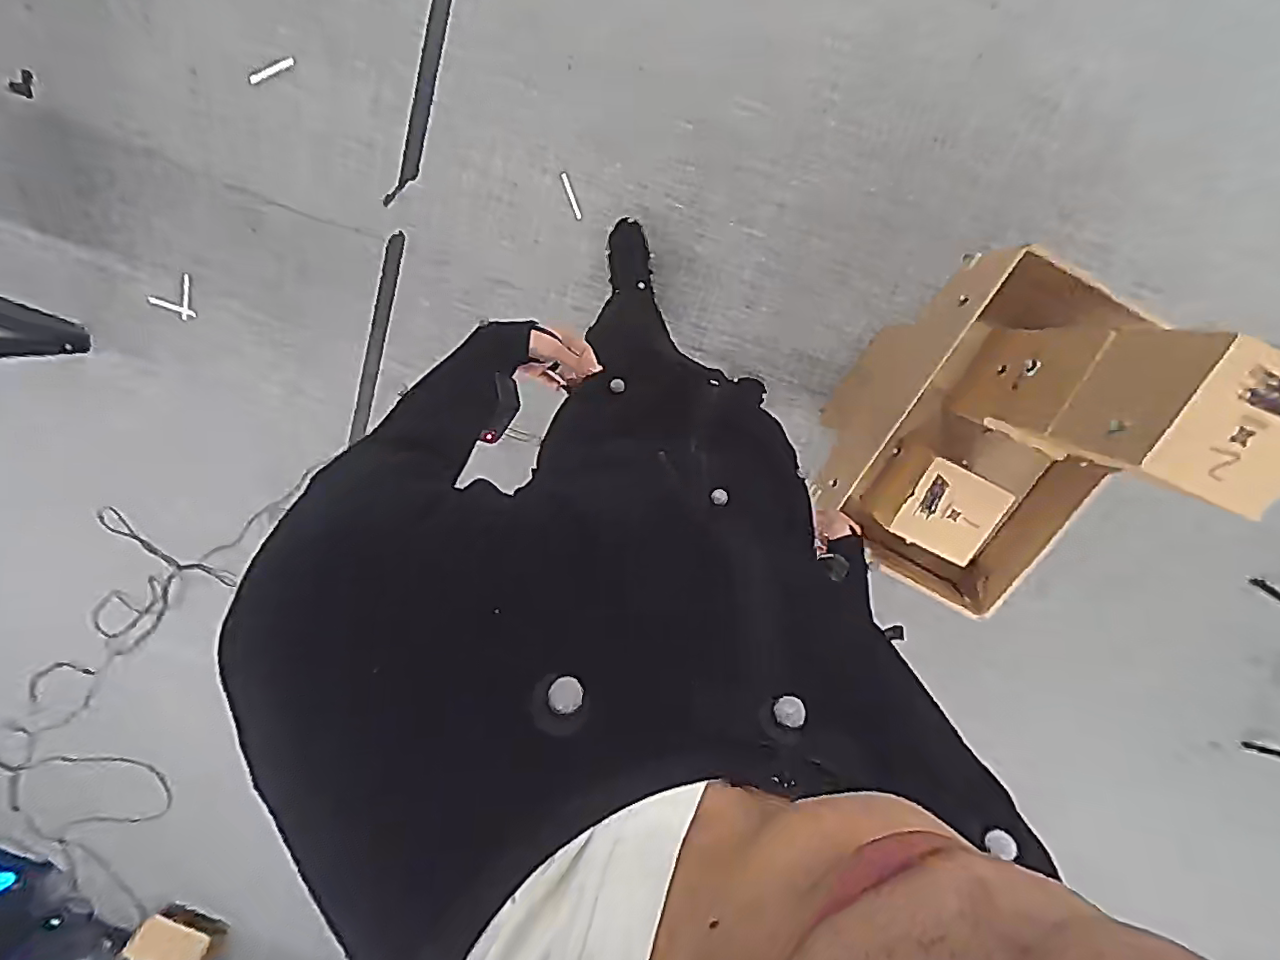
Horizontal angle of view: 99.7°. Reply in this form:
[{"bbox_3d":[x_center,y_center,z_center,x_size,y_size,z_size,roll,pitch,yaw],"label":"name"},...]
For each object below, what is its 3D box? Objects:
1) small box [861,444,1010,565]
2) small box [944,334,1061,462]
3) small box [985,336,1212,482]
[{"bbox_3d":[0.582,0.039,1.097,0.179,0.176,0.168,26,107,-4],"label":"small box"},{"bbox_3d":[0.719,-0.164,1.022,0.168,0.176,0.179,26,108,-3],"label":"small box"},{"bbox_3d":[0.711,-0.124,0.863,0.179,0.176,0.168,23,107,-3],"label":"small box"}]
